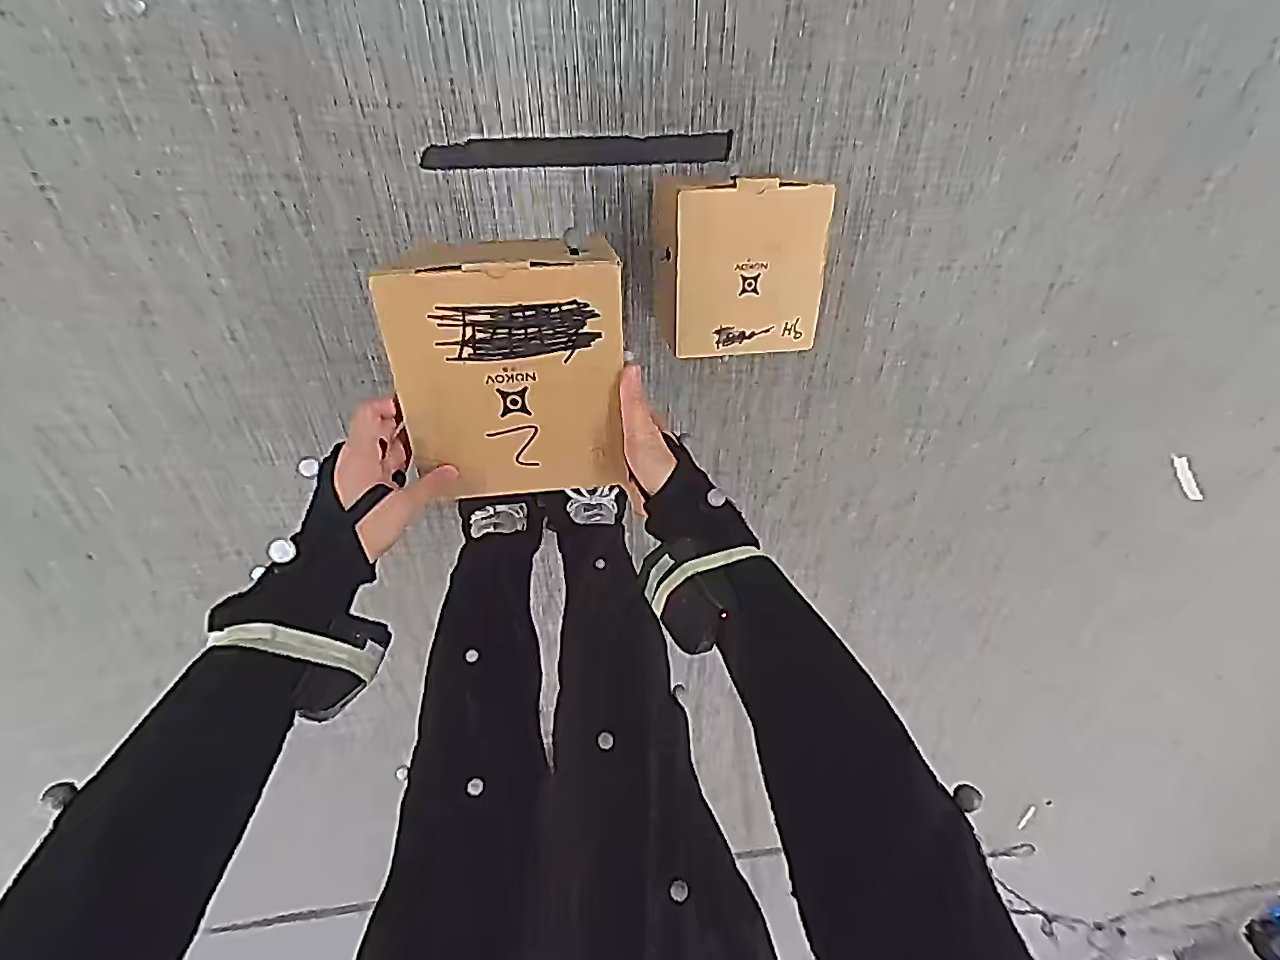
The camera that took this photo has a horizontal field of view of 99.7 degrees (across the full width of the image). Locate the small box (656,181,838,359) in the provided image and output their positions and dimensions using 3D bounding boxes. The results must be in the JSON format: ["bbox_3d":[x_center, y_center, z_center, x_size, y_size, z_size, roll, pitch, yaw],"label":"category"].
[{"bbox_3d":[0.112,-0.258,0.648,0.168,0.176,0.179,-5,122,-6],"label":"small box"}]
